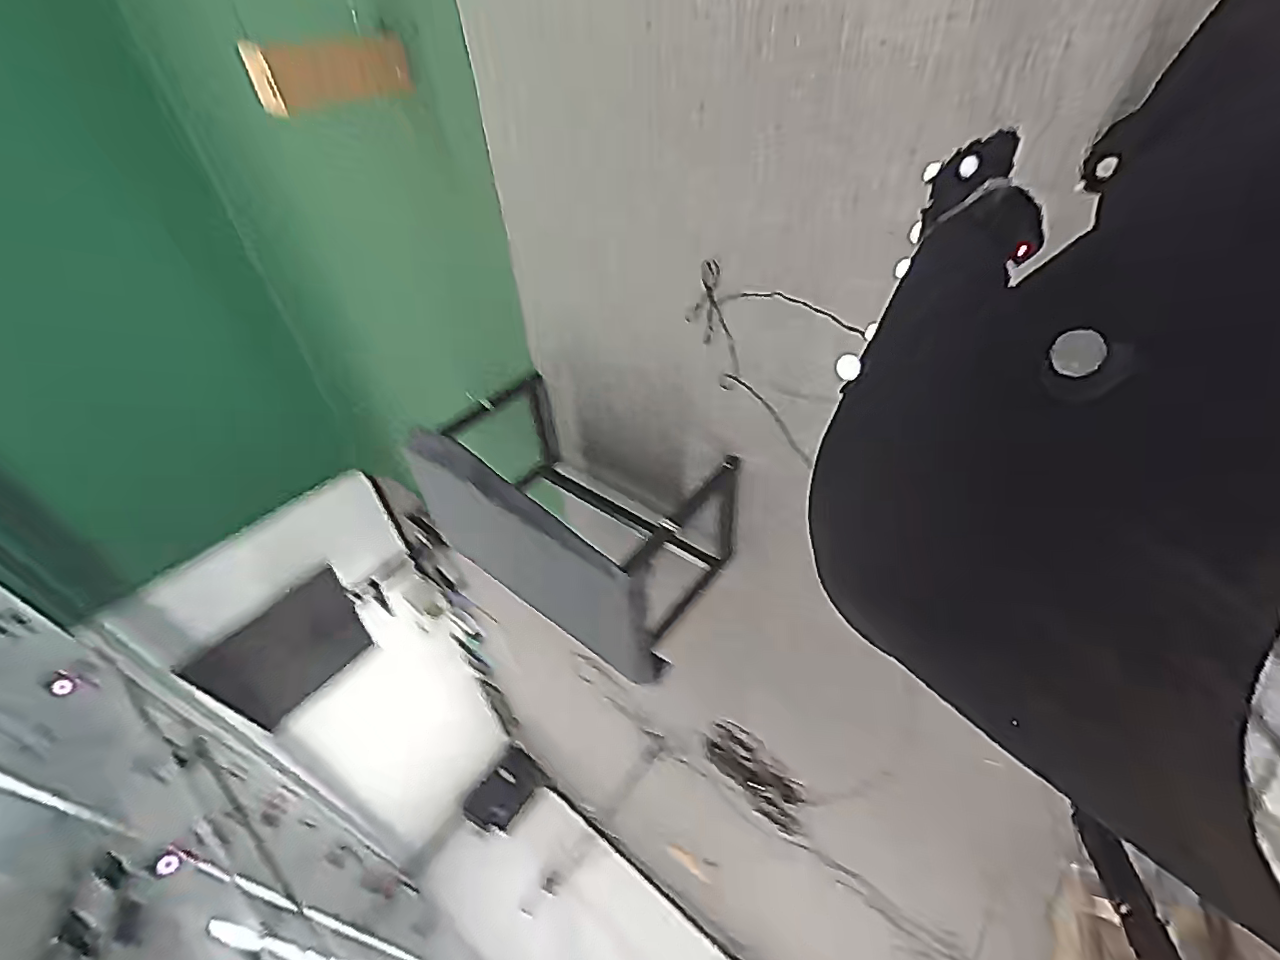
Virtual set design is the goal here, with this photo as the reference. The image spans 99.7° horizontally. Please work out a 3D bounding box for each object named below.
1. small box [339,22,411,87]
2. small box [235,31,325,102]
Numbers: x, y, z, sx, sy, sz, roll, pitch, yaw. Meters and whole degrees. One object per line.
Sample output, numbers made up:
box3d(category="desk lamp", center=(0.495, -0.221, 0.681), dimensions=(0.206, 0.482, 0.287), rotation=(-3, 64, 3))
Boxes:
box3d(category="small box", center=(-0.983, -1.569, 1.989), dimensions=(0.179, 0.176, 0.168), rotation=(28, 142, 27))
box3d(category="small box", center=(-1.198, -1.391, 1.815), dimensions=(0.179, 0.176, 0.168), rotation=(30, 142, 27))
